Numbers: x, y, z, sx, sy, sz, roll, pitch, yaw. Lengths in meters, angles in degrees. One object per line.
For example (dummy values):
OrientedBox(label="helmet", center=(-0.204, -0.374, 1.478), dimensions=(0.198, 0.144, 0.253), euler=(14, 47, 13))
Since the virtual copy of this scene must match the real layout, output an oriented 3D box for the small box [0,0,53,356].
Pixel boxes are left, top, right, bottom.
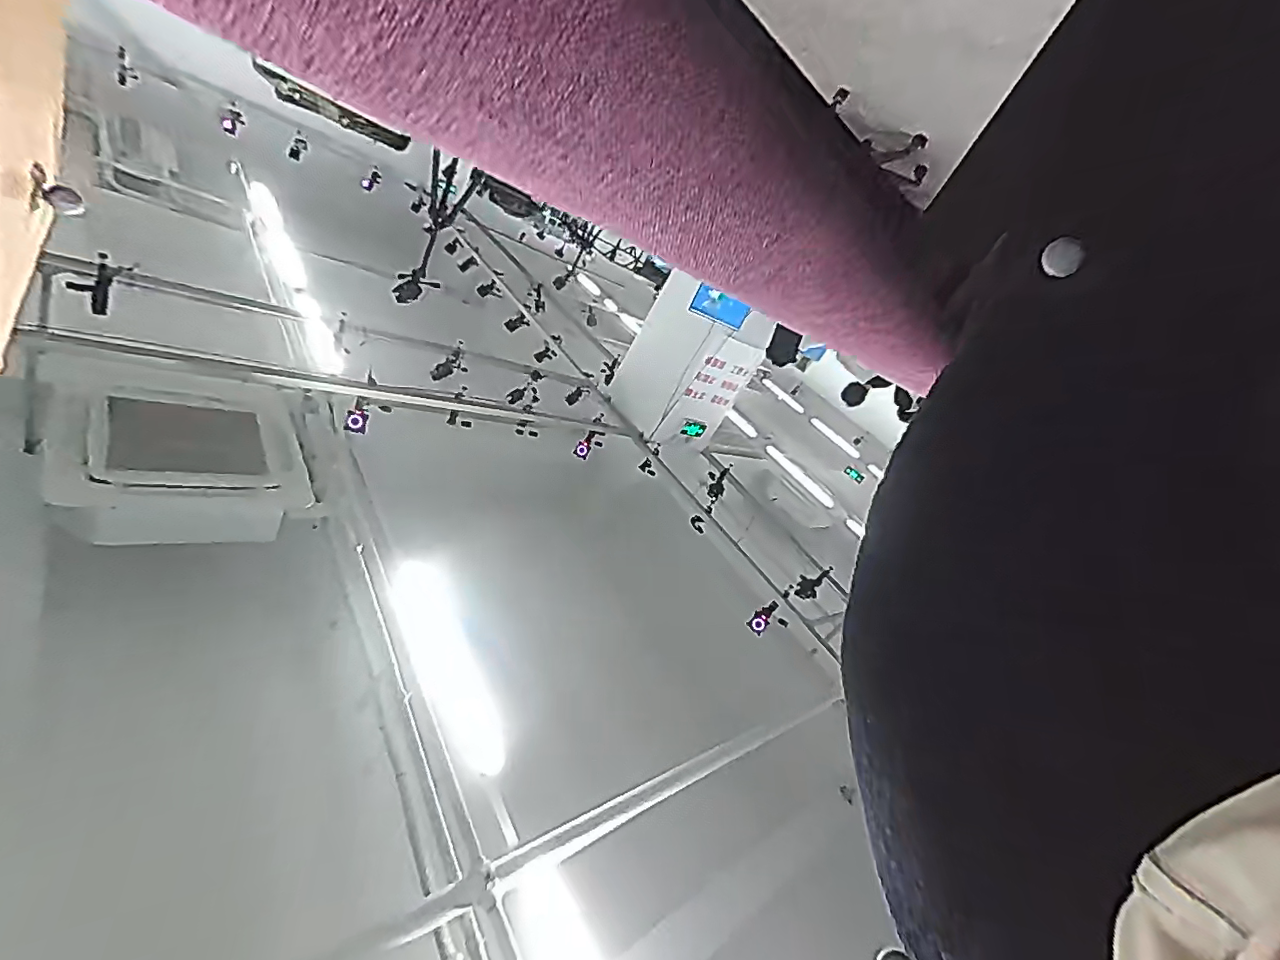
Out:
OrientedBox(label="small box", center=(-0.314, -0.169, 0.172), dimensions=(0.168, 0.176, 0.179), euler=(4, -144, -44))
